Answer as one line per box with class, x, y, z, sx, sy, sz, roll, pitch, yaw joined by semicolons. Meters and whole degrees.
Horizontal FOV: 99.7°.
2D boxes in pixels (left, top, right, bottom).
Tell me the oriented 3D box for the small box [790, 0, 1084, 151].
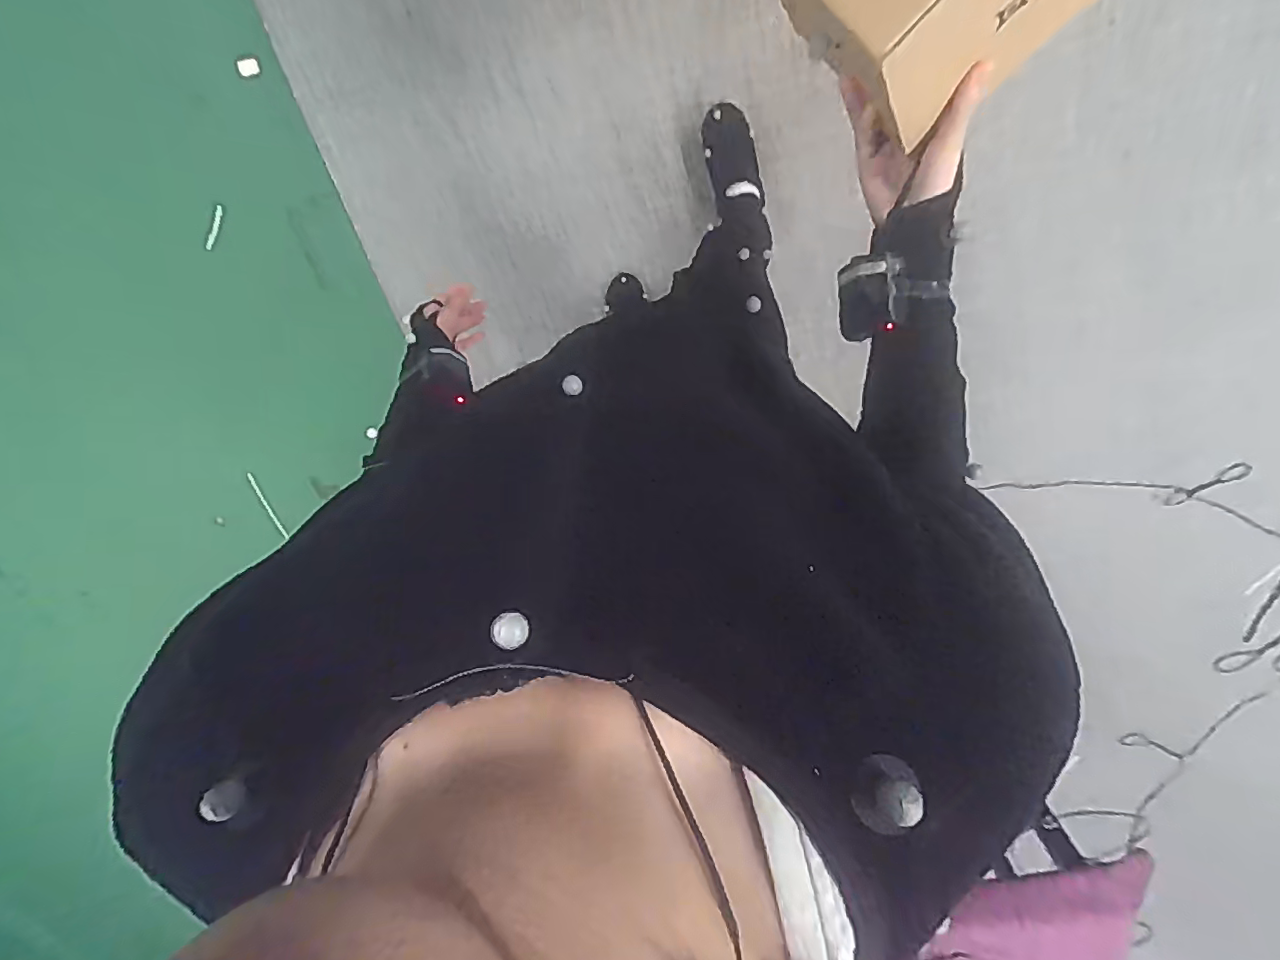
small box;0.196;-0.373;0.350;0.179;0.168;0.176;-40;76;29
